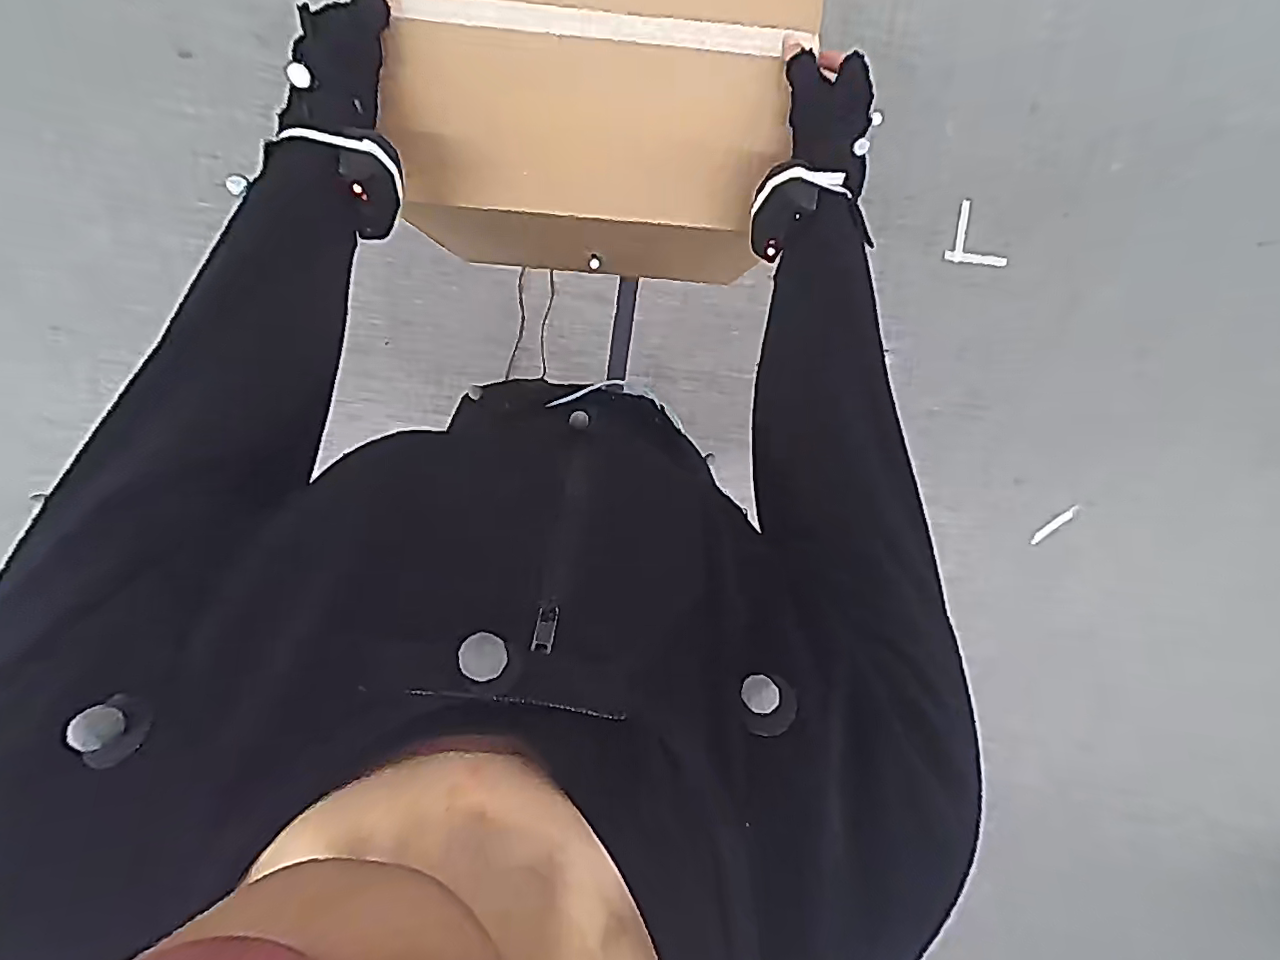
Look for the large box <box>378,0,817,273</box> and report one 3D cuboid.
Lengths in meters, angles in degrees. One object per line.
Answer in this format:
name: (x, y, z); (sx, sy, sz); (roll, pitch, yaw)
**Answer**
large box: (-0.041, -0.437, 0.638); (0.408, 0.320, 0.320); (3, 101, -3)
